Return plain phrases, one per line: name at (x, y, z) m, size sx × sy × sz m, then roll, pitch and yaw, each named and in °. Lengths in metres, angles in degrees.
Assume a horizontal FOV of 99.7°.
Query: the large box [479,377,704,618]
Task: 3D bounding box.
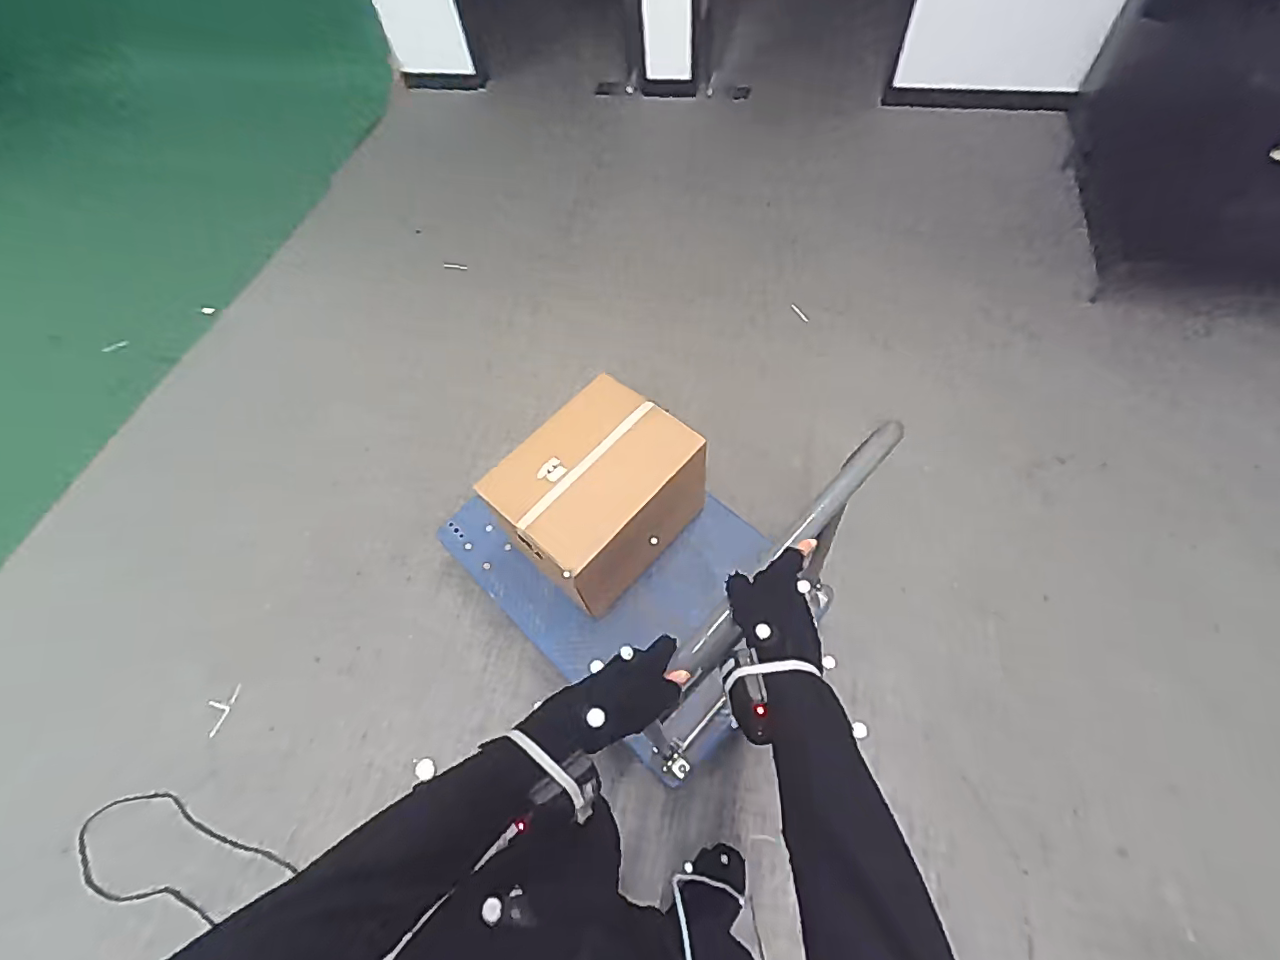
large box at (-0.089, 0.045, 1.278) m, size 0.320 × 0.320 × 0.408 m, roll 37°, pitch 70°, yaw 24°
